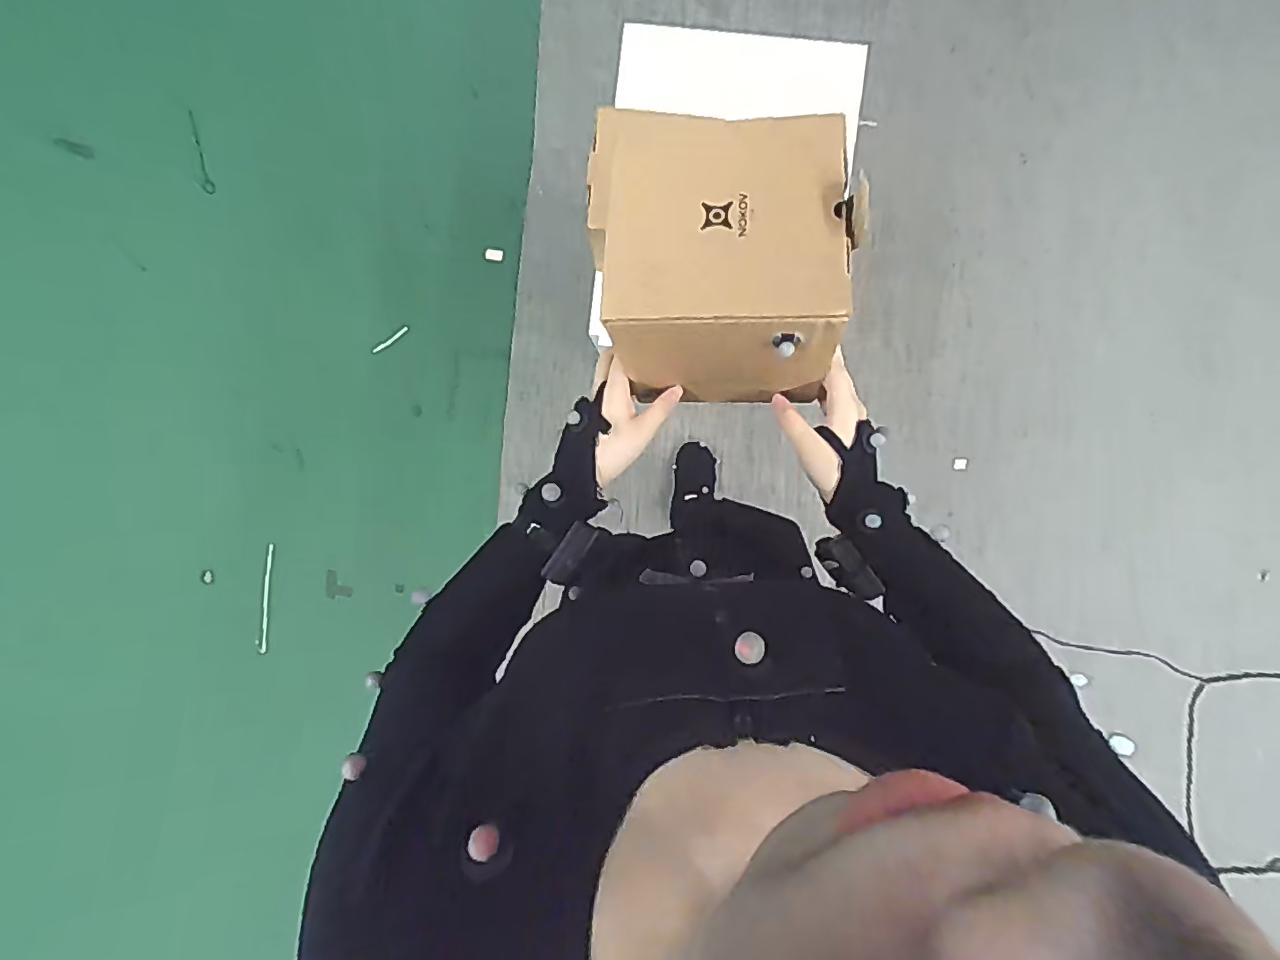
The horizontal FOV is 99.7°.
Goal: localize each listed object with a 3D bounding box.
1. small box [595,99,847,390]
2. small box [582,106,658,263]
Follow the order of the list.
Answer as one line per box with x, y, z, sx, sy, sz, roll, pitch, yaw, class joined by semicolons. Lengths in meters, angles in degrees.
0.069;-0.184;0.469;0.179;0.176;0.168;1;77;8;small box
0.019;-0.413;0.803;0.179;0.176;0.168;6;92;1;small box
